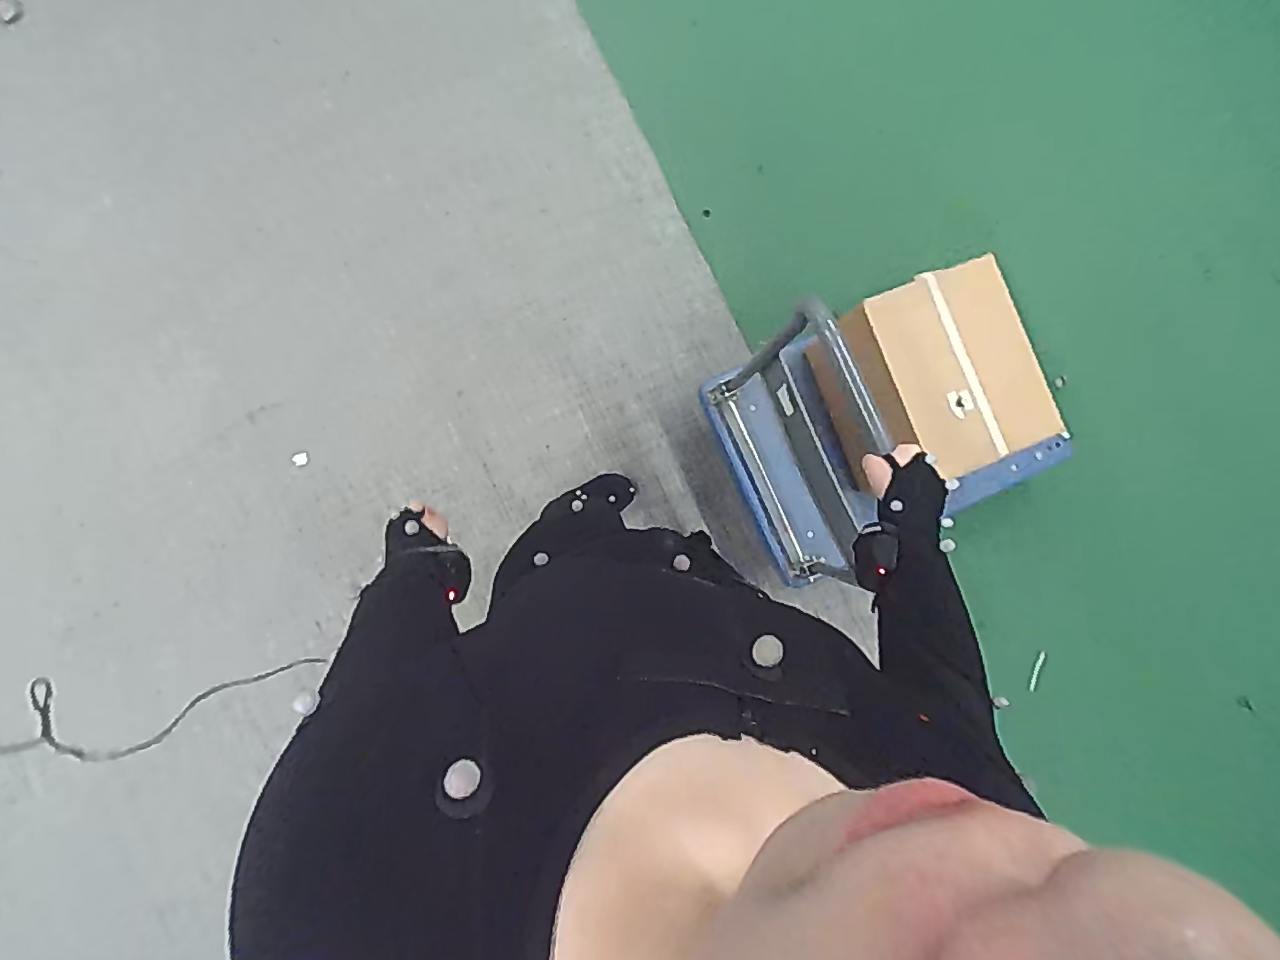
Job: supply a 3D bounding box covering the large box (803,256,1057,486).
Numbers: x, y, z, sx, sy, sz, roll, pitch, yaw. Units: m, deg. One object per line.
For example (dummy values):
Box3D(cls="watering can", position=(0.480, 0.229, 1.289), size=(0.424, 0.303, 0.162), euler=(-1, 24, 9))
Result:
Box3D(cls="large box", position=(0.646, -0.231, 1.268), size=(0.320, 0.320, 0.408), euler=(-21, 88, -6))
